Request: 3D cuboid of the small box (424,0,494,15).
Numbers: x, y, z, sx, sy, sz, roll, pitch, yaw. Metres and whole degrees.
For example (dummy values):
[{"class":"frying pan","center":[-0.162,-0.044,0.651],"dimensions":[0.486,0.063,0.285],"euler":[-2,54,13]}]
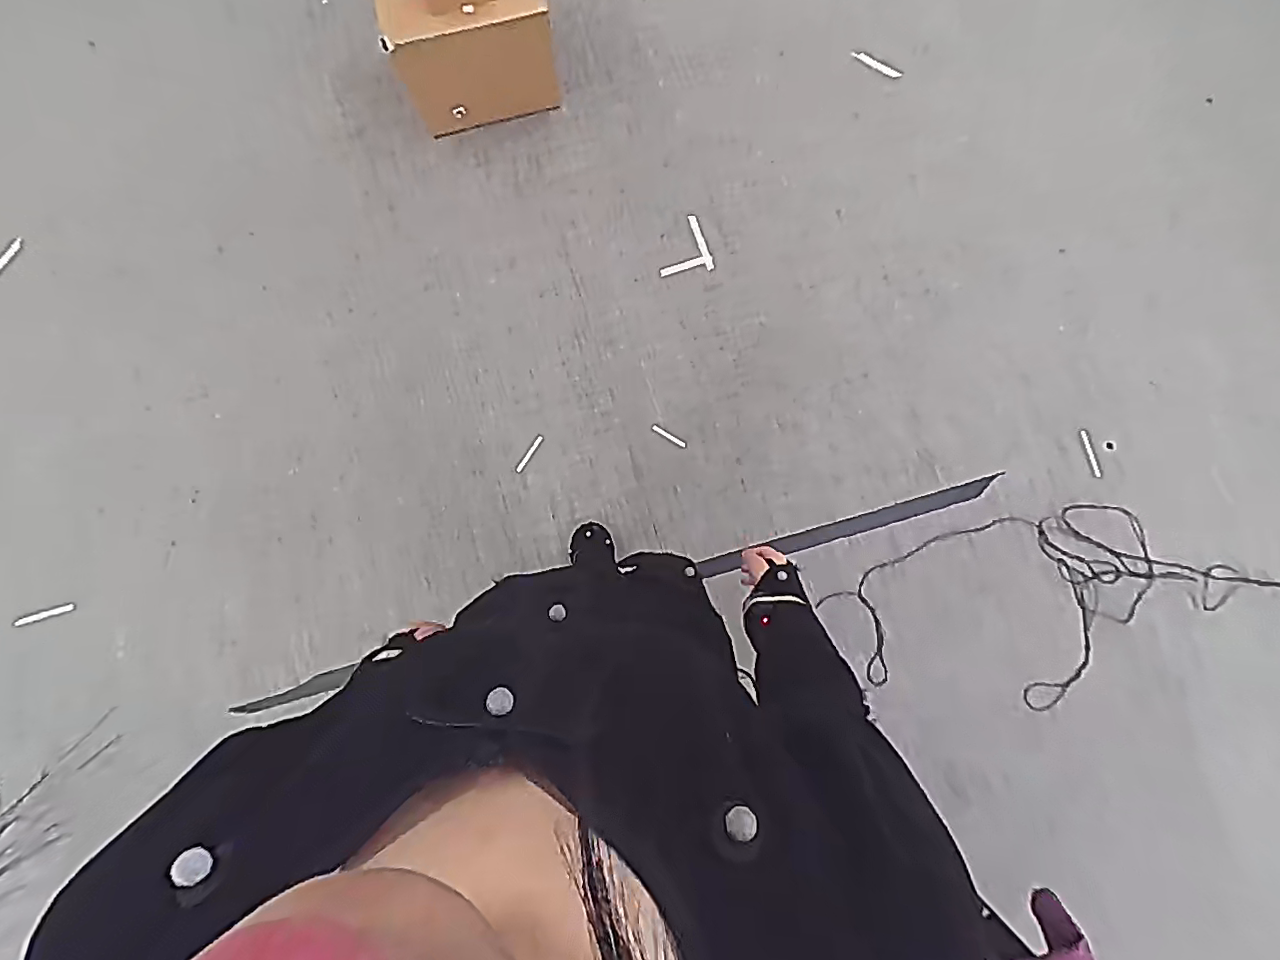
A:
[{"class":"small box","center":[-0.443,-1.219,1.233],"dimensions":[0.179,0.176,0.168],"euler":[-17,87,-4]}]
